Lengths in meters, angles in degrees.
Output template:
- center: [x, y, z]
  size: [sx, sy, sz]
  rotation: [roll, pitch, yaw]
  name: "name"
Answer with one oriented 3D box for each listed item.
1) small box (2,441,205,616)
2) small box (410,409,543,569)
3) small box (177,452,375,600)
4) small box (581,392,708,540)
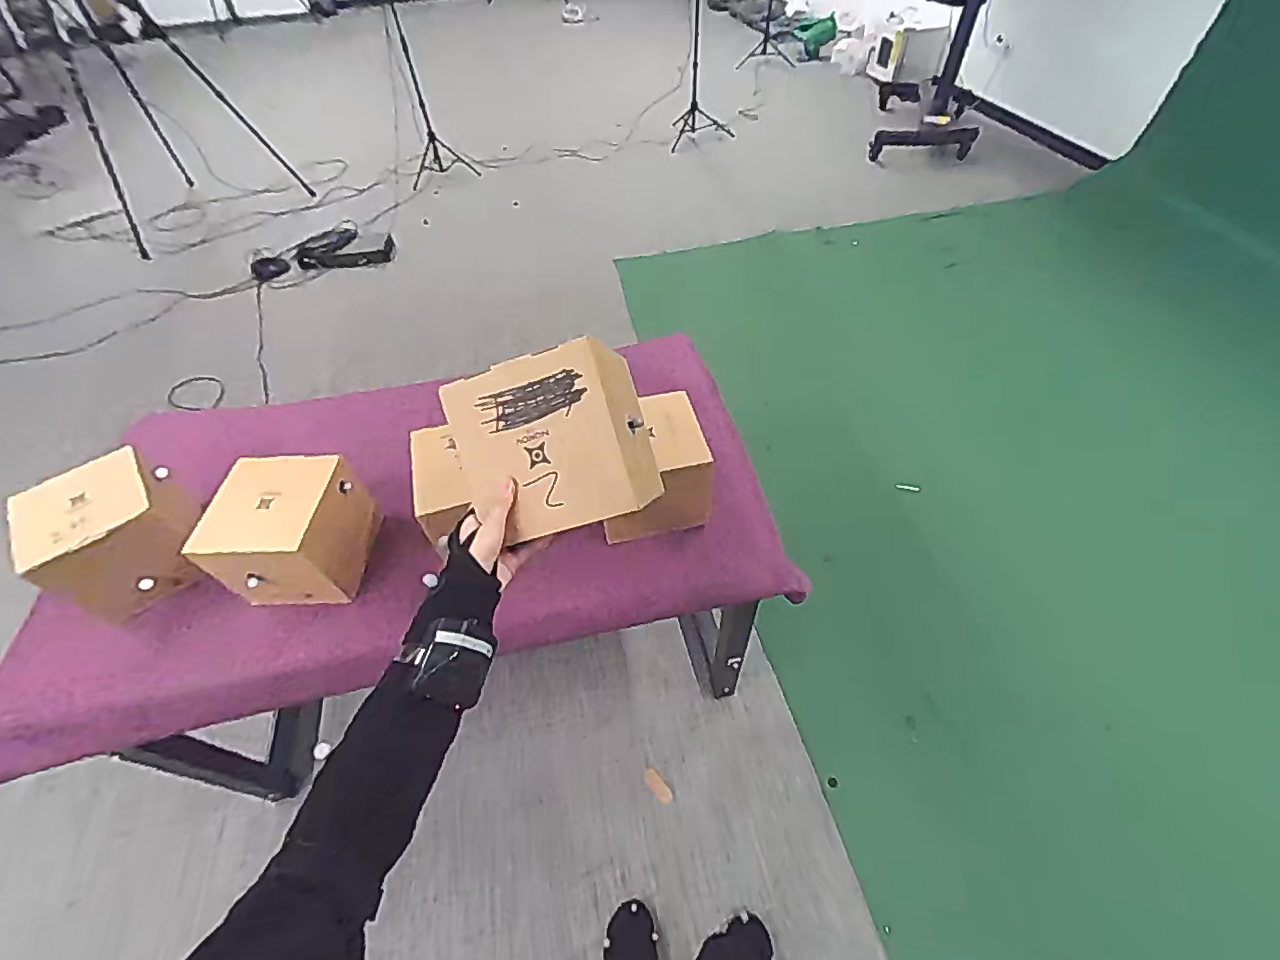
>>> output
- center: [-0.823, 0.078, 0.848]
  size: [0.168, 0.176, 0.179]
  rotation: [-34, 58, -22]
  name: "small box"
- center: [-0.263, 0.016, 0.880]
  size: [0.168, 0.176, 0.179]
  rotation: [-14, 52, -9]
  name: "small box"
- center: [-0.544, 0.077, 0.843]
  size: [0.168, 0.176, 0.179]
  rotation: [-1, 50, 2]
  name: "small box"
- center: [0.006, -0.019, 0.897]
  size: [0.179, 0.176, 0.168]
  rotation: [-10, 50, -6]
  name: "small box"
